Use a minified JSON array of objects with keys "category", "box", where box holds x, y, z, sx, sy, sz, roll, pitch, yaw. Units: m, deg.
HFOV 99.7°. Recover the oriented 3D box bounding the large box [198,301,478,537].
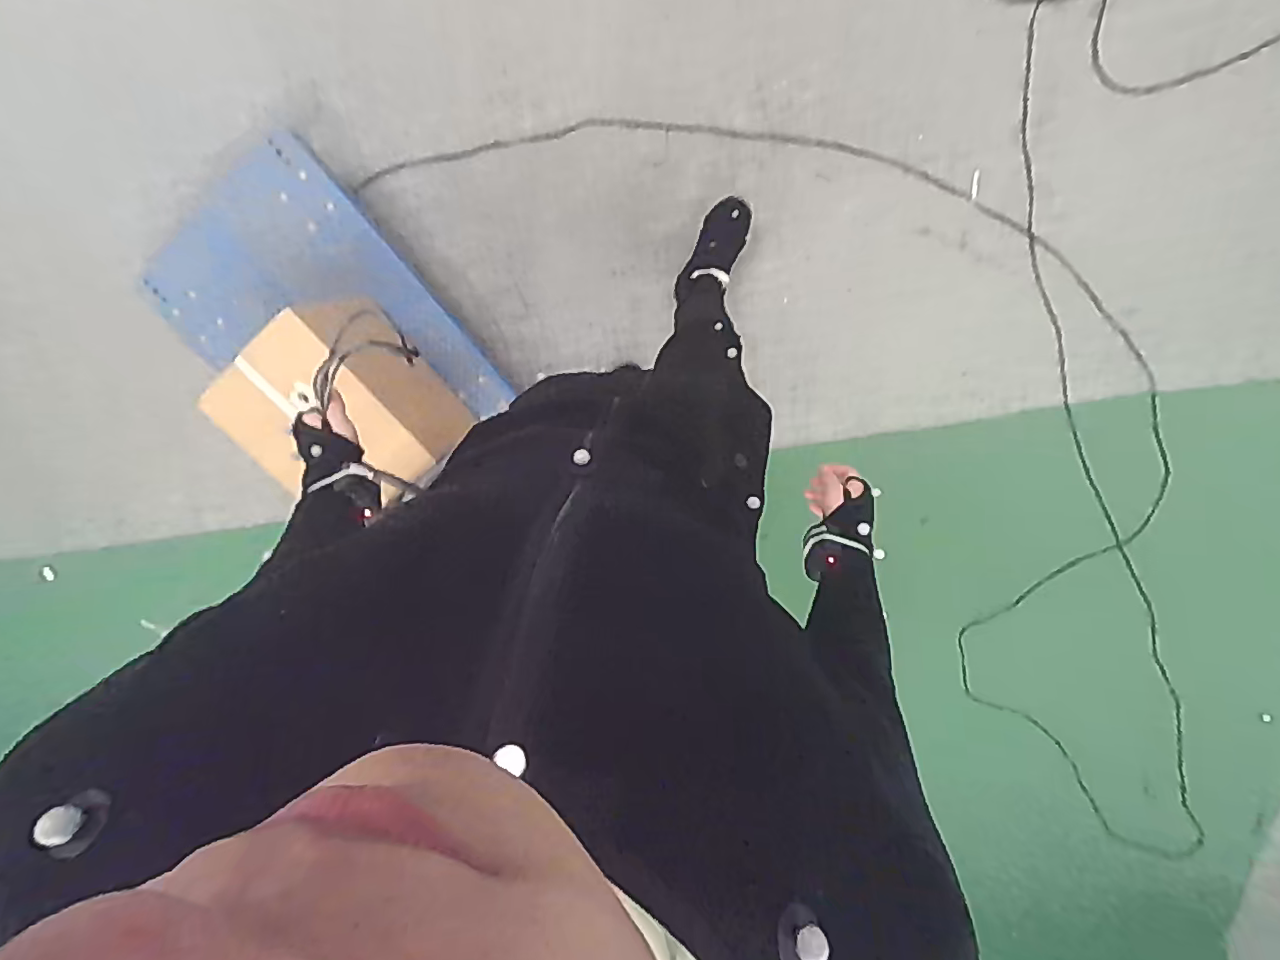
[{"category":"large box","box":[-0.662,-0.153,1.261,0.320,0.320,0.408,-35,106,14]}]
